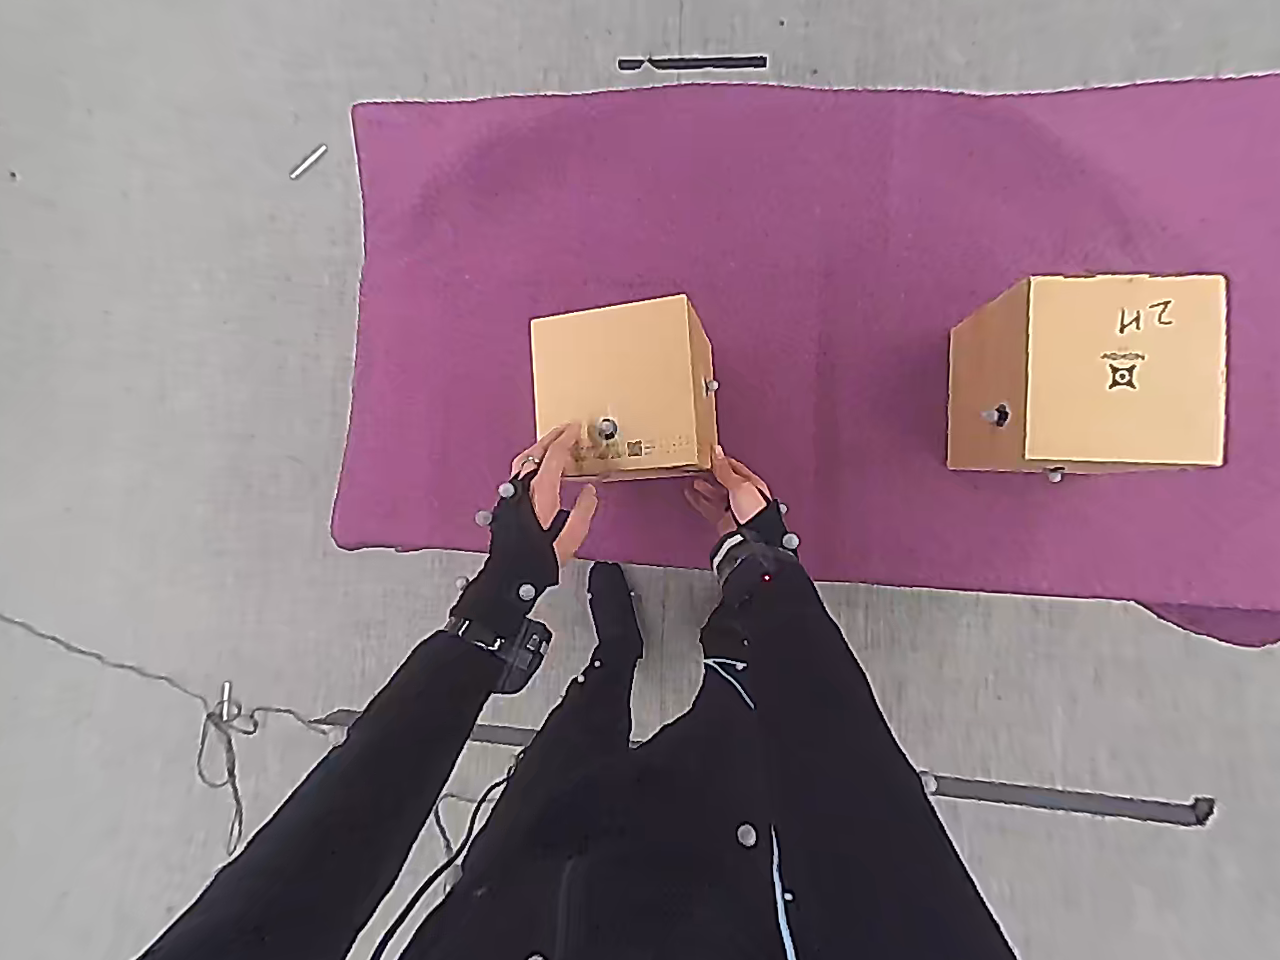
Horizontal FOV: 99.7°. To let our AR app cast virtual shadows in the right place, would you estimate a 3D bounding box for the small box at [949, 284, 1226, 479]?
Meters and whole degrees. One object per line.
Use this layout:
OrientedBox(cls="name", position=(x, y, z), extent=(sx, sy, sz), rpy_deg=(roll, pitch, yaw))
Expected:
OrientedBox(cls="small box", position=(0.453, -0.093, 0.577), extent=(0.168, 0.176, 0.179), rpy_deg=(3, 88, 7))
